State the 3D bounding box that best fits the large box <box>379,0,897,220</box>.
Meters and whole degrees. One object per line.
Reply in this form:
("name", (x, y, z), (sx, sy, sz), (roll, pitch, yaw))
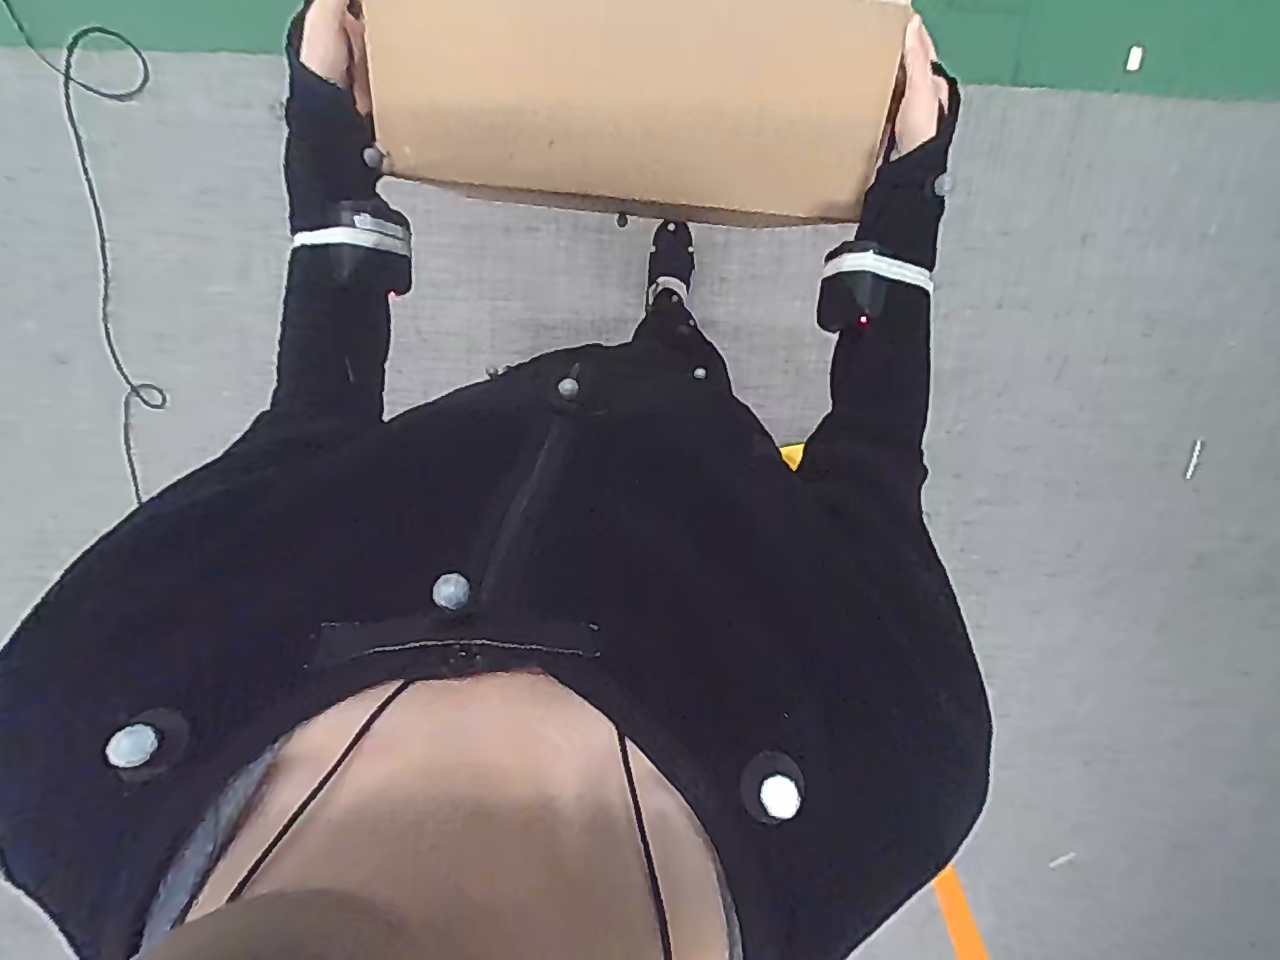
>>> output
("large box", (-0.002, -0.443, 0.541), (0.408, 0.320, 0.320), (3, 113, -5))
